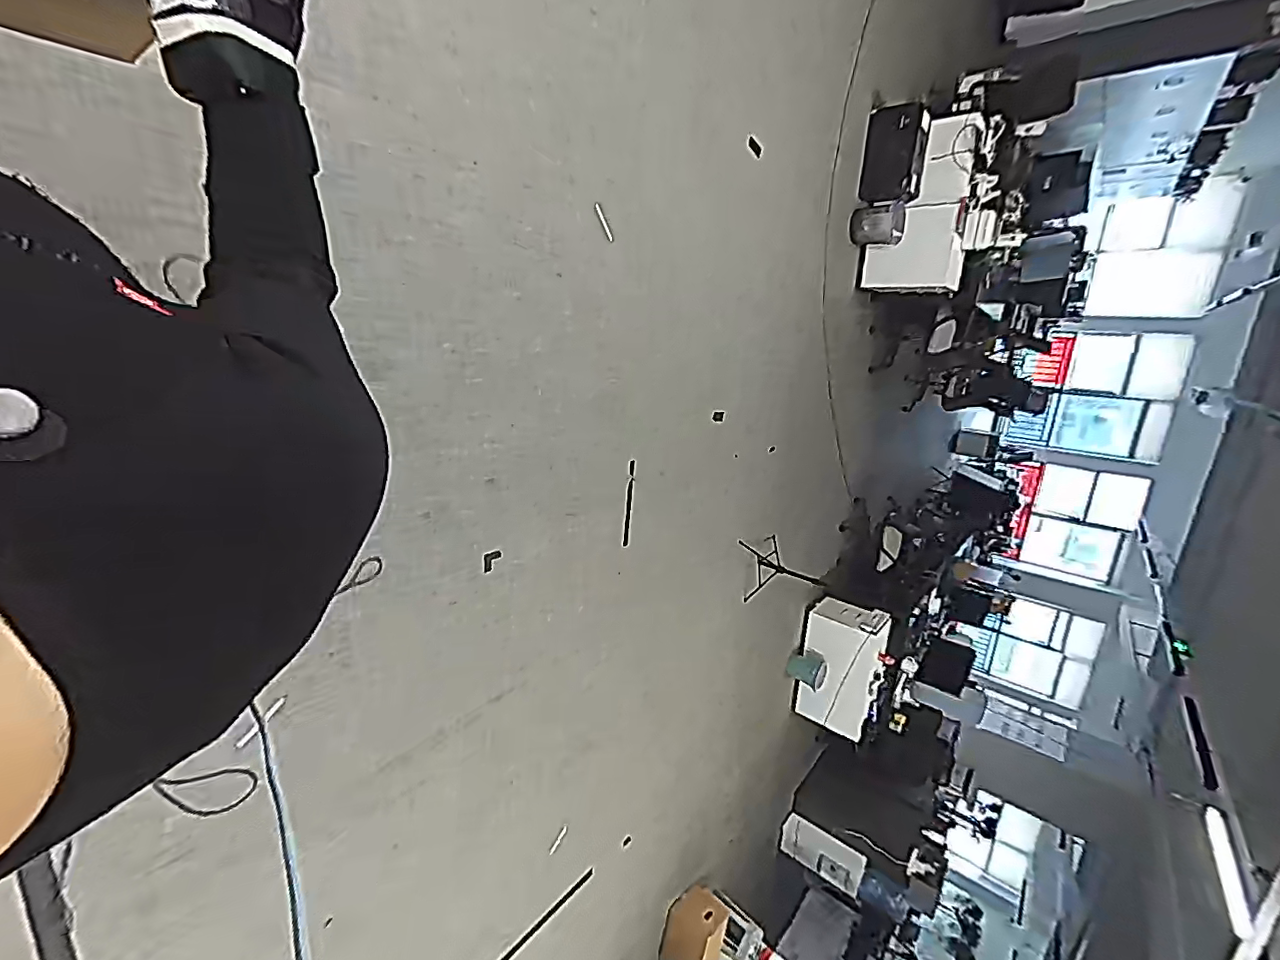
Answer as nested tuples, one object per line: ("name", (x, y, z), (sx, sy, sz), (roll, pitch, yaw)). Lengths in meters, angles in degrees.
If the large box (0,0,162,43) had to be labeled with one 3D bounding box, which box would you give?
("large box", (-0.526, -0.498, 0.264), (0.408, 0.320, 0.320), (-15, 120, -47))
